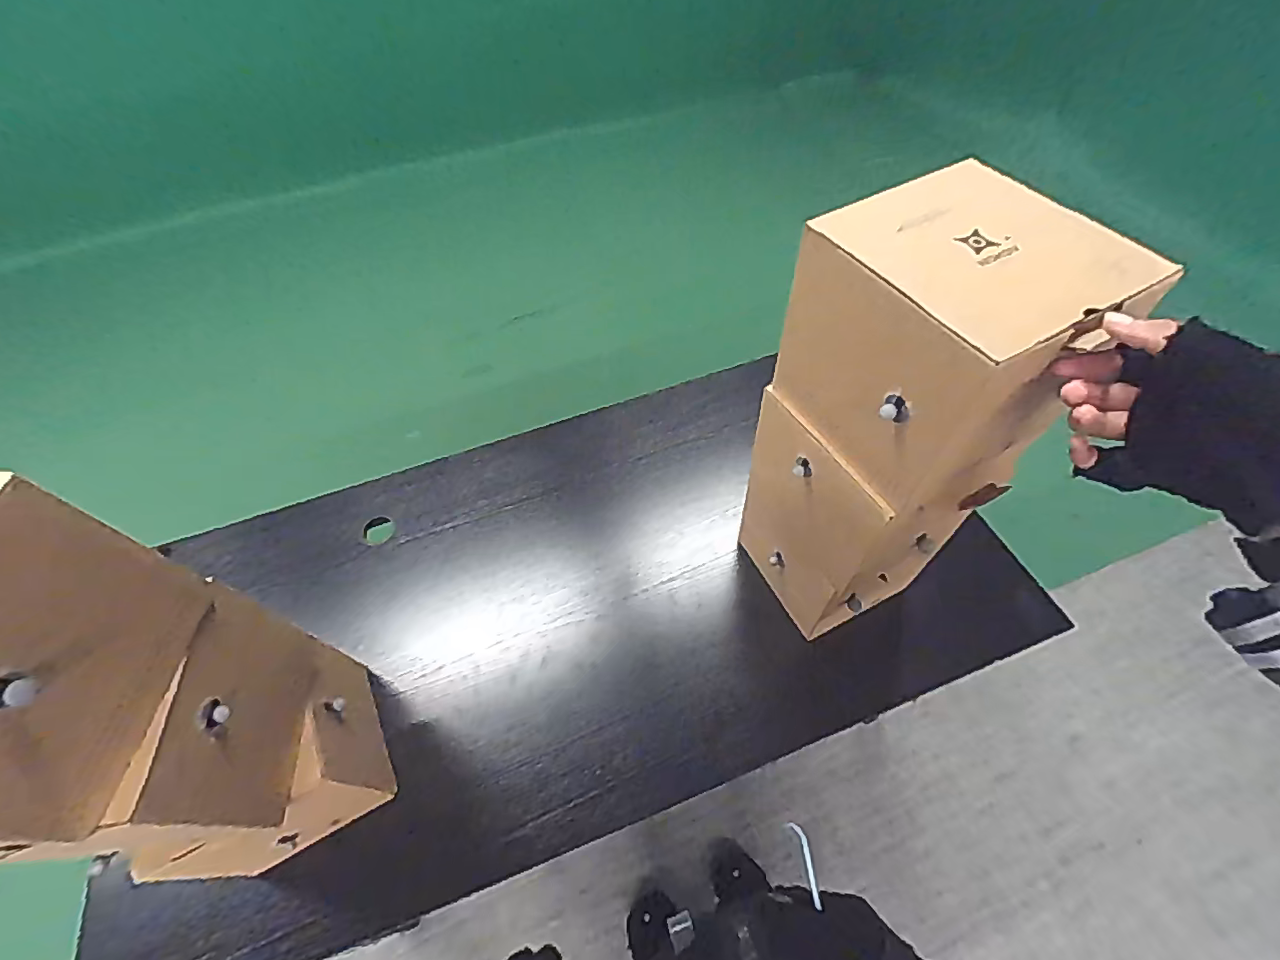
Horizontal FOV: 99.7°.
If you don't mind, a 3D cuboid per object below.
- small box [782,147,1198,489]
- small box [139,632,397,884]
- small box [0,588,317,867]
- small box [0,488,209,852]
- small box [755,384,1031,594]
[{"bbox_3d":[0.235,-0.115,0.420,0.168,0.176,0.179,-26,57,-13],"label":"small box"},{"bbox_3d":[-0.399,0.305,0.598,0.168,0.176,0.179,-26,59,-14],"label":"small box"},{"bbox_3d":[-0.410,0.214,0.461,0.168,0.176,0.179,-8,56,-2],"label":"small box"},{"bbox_3d":[-0.423,0.119,0.328,0.168,0.176,0.179,1,58,3],"label":"small box"},{"bbox_3d":[0.239,-0.012,0.567,0.168,0.176,0.179,-26,58,-13],"label":"small box"}]
